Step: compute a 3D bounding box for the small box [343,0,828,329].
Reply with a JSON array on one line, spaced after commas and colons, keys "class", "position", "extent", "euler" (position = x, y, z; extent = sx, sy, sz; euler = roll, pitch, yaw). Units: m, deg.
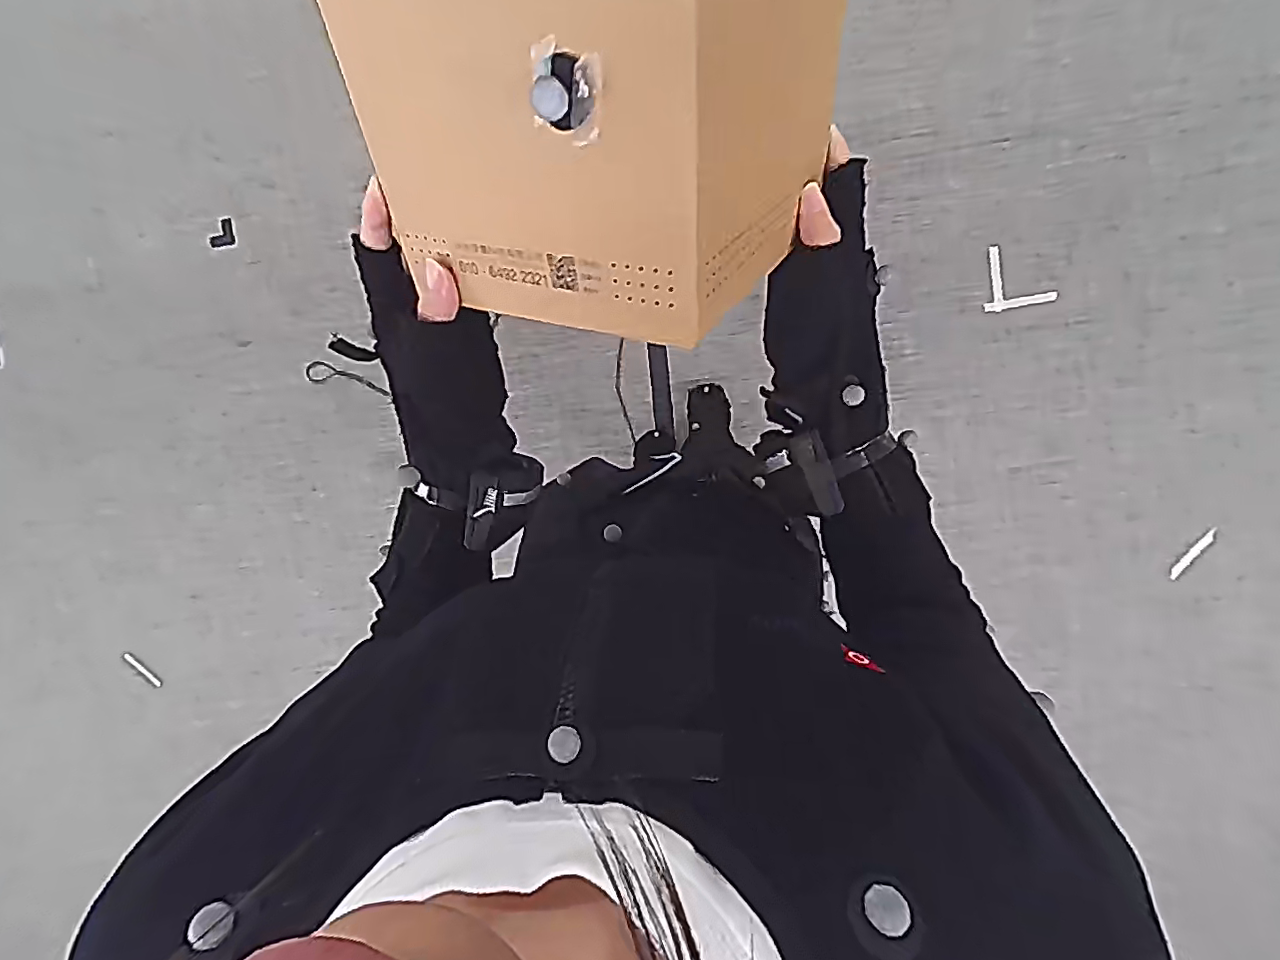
[{"class": "small box", "position": [-0.009, -0.194, 0.275], "extent": [0.168, 0.179, 0.176], "euler": [18, 136, 25]}]
